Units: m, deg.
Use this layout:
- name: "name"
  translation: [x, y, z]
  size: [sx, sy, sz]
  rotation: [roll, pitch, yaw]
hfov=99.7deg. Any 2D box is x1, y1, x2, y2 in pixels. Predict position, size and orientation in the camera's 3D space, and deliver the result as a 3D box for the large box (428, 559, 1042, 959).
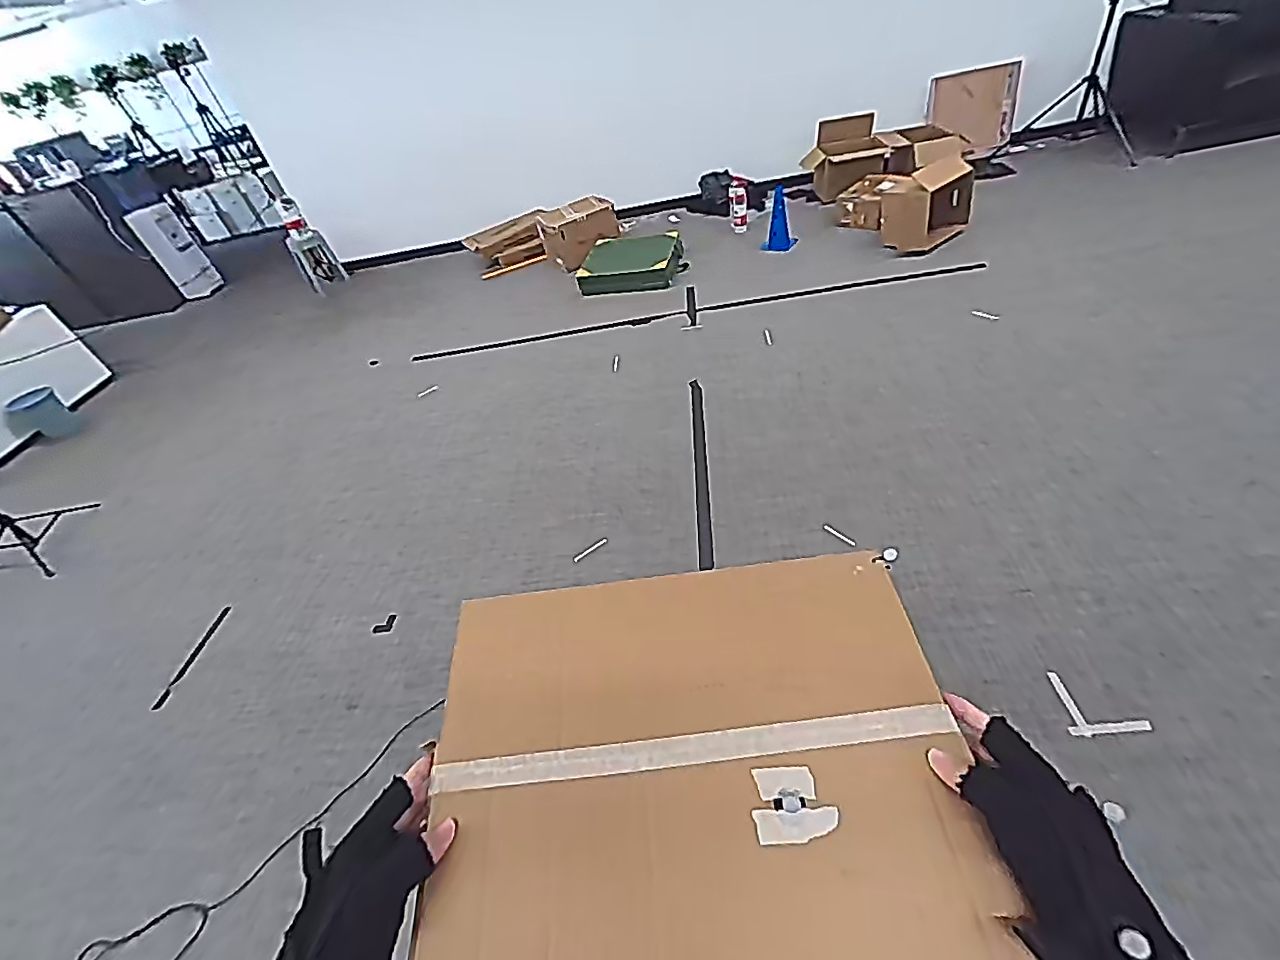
- name: "large box"
  translation: [0.057, 0.315, 0.545]
  size: [0.408, 0.320, 0.320]
  rotation: [-7, 49, 2]
